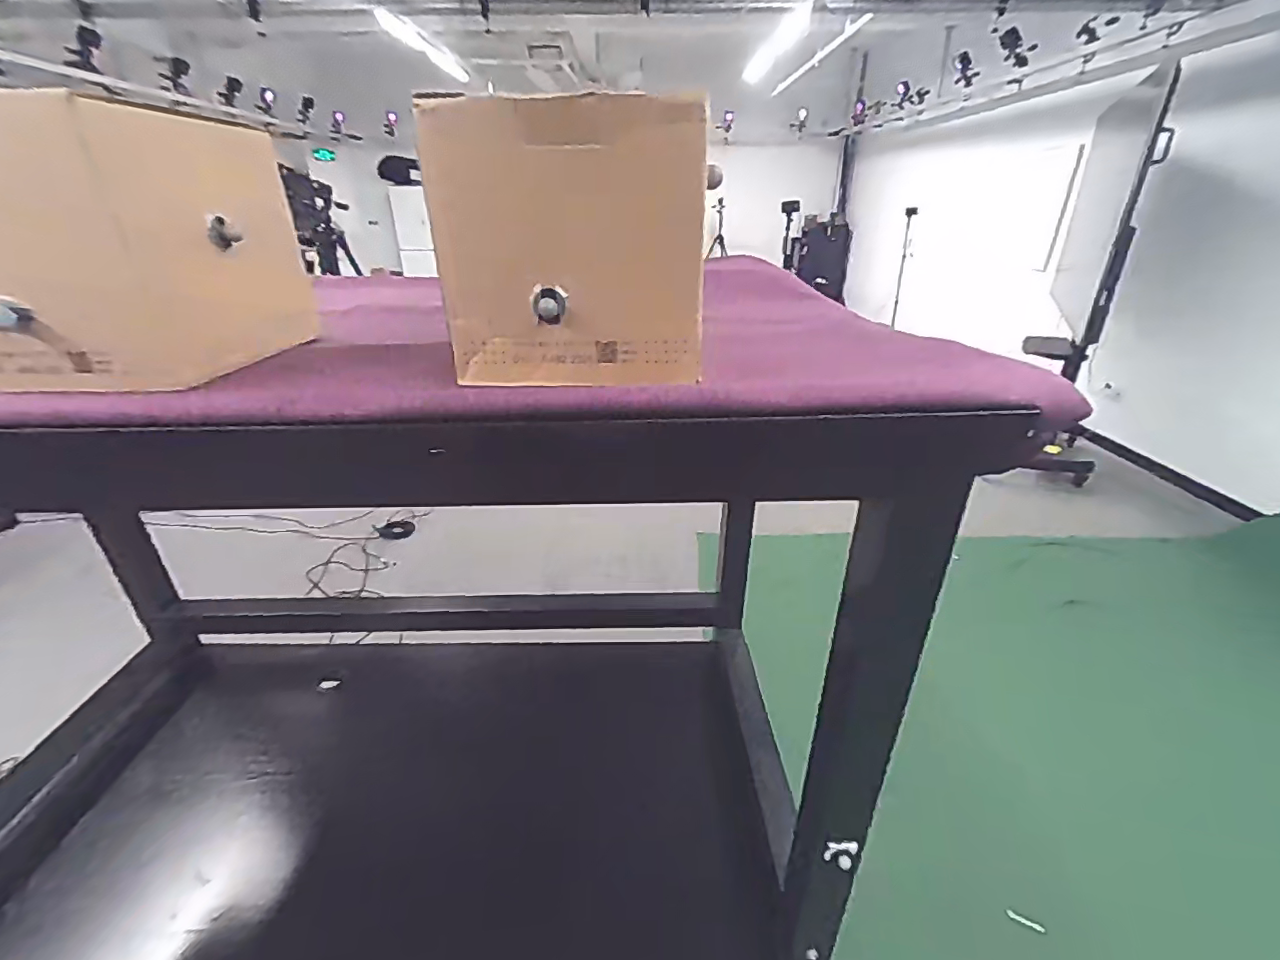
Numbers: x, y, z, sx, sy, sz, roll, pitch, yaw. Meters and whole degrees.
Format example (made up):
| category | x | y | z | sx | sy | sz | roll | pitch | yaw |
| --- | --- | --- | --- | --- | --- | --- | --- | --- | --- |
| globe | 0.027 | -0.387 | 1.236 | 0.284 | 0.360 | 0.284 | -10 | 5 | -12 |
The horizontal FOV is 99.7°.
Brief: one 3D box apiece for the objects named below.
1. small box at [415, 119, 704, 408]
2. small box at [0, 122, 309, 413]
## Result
| category | x | y | z | sx | sy | sz | roll | pitch | yaw |
| --- | --- | --- | --- | --- | --- | --- | --- | --- | --- |
| small box | -0.043 | -0.163 | 0.409 | 0.168 | 0.176 | 0.179 | 0 | 29 | 2 |
| small box | -0.382 | -0.159 | 0.404 | 0.168 | 0.176 | 0.179 | 0 | 29 | 1 |
